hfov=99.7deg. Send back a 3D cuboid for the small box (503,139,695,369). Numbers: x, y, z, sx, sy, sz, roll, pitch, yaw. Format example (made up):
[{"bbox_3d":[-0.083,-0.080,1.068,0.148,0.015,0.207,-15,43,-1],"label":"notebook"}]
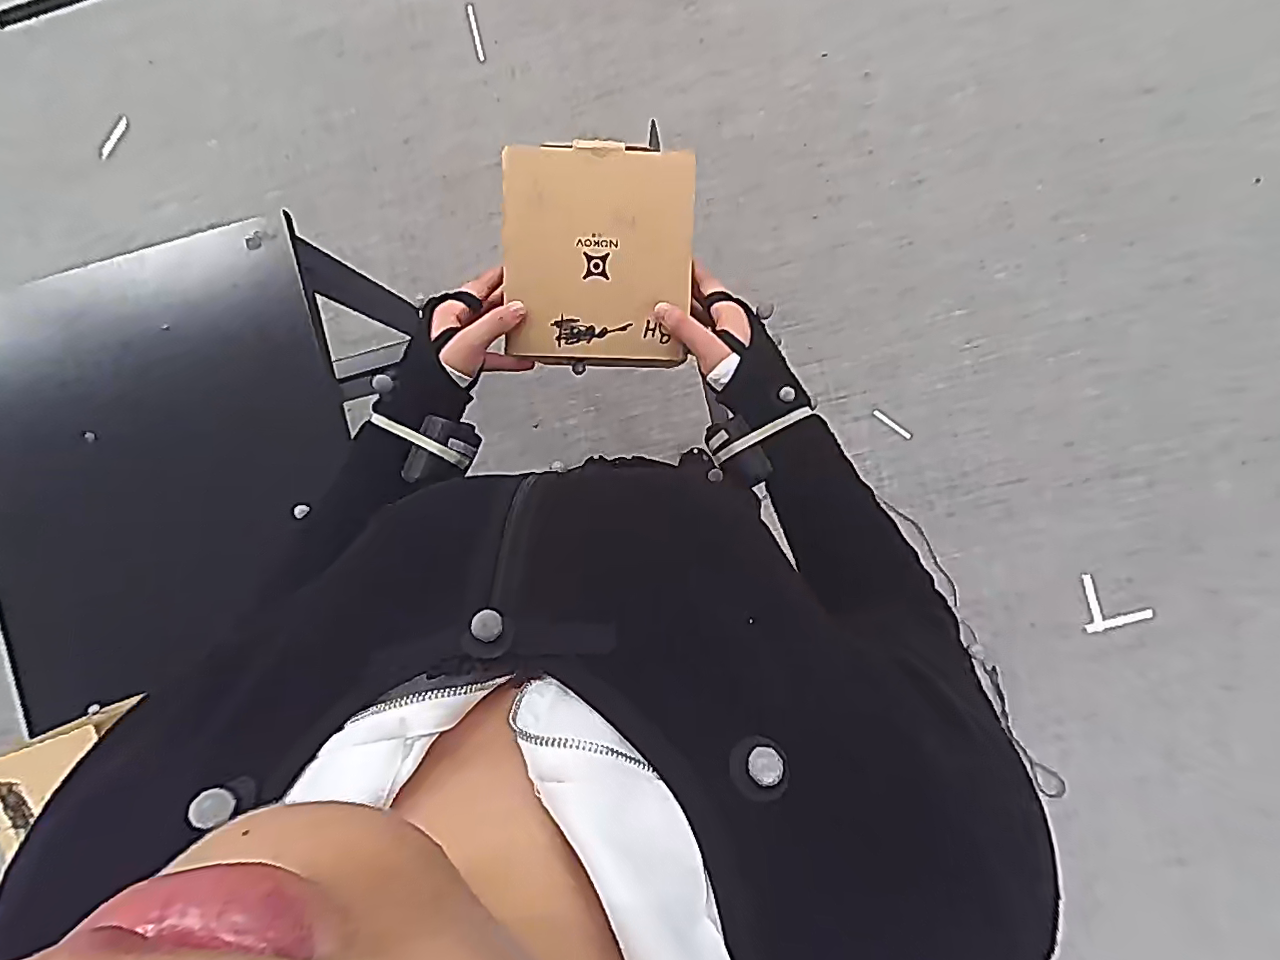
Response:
[{"bbox_3d":[-0.037,-0.209,0.545,0.168,0.176,0.179,1,98,1],"label":"small box"}]

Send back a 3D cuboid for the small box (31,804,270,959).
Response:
[{"bbox_3d":[-0.646,0.576,0.741,0.179,0.176,0.168,-11,90,4],"label":"small box"}]
